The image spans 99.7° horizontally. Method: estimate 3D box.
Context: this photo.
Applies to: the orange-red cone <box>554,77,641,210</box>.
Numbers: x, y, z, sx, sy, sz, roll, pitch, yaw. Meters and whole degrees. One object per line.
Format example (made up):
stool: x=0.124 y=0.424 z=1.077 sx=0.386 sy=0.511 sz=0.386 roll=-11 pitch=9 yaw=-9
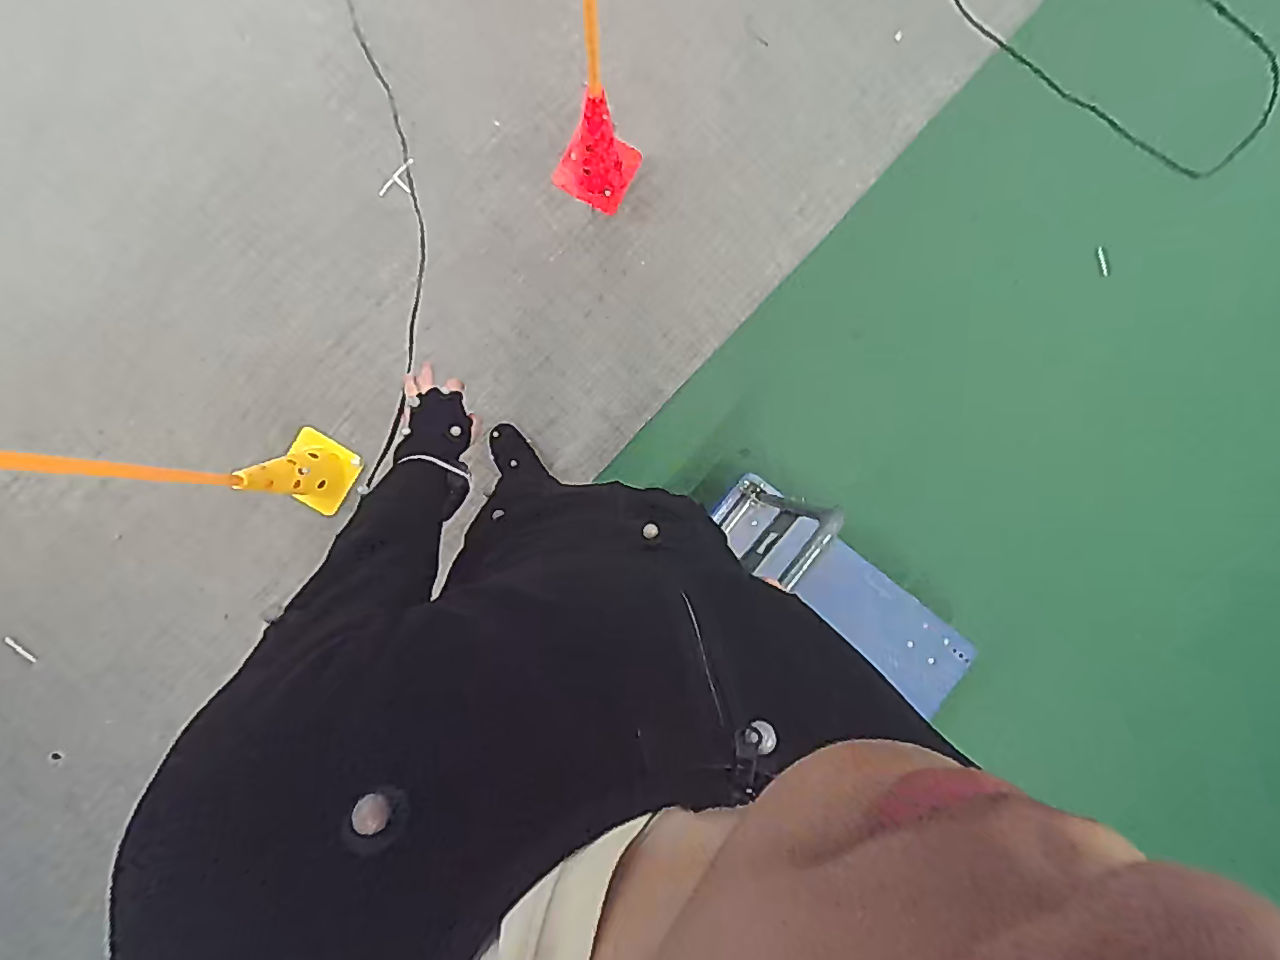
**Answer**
orange-red cone: x=-0.107 y=-0.884 z=1.365 sx=0.198 sy=0.360 sz=0.199 roll=29 pitch=91 yaw=-6
